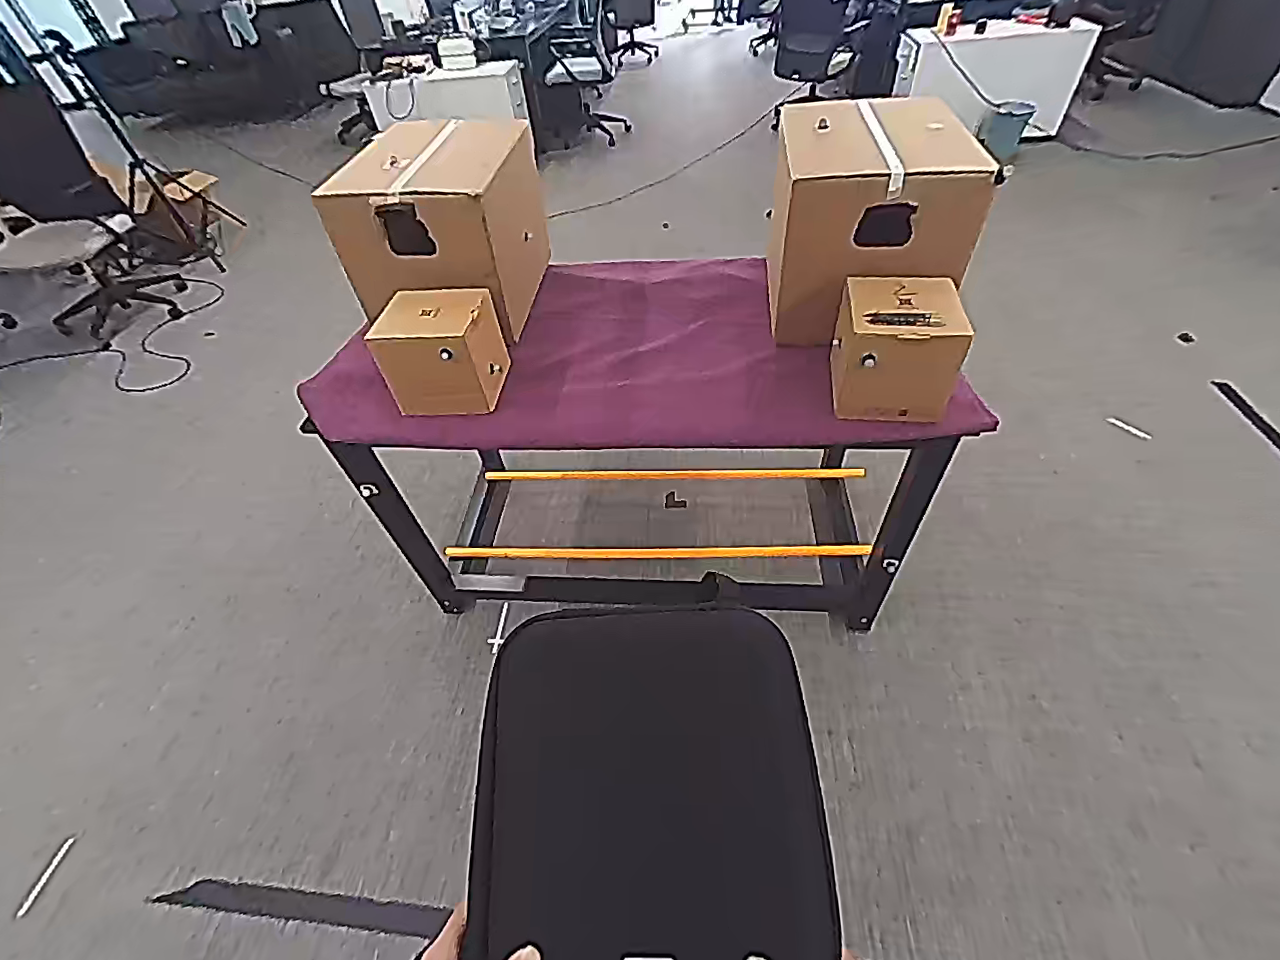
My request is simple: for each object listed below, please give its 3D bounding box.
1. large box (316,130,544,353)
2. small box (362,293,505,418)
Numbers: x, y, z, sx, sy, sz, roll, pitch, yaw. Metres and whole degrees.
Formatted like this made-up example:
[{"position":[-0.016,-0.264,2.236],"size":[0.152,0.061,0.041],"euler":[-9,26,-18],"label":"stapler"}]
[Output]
[{"position":[-0.410,-0.523,1.185],"size":[0.320,0.320,0.408],"euler":[0,50,5],"label":"large box"},{"position":[-0.369,-0.227,1.005],"size":[0.179,0.176,0.168],"euler":[-1,46,4],"label":"small box"}]
